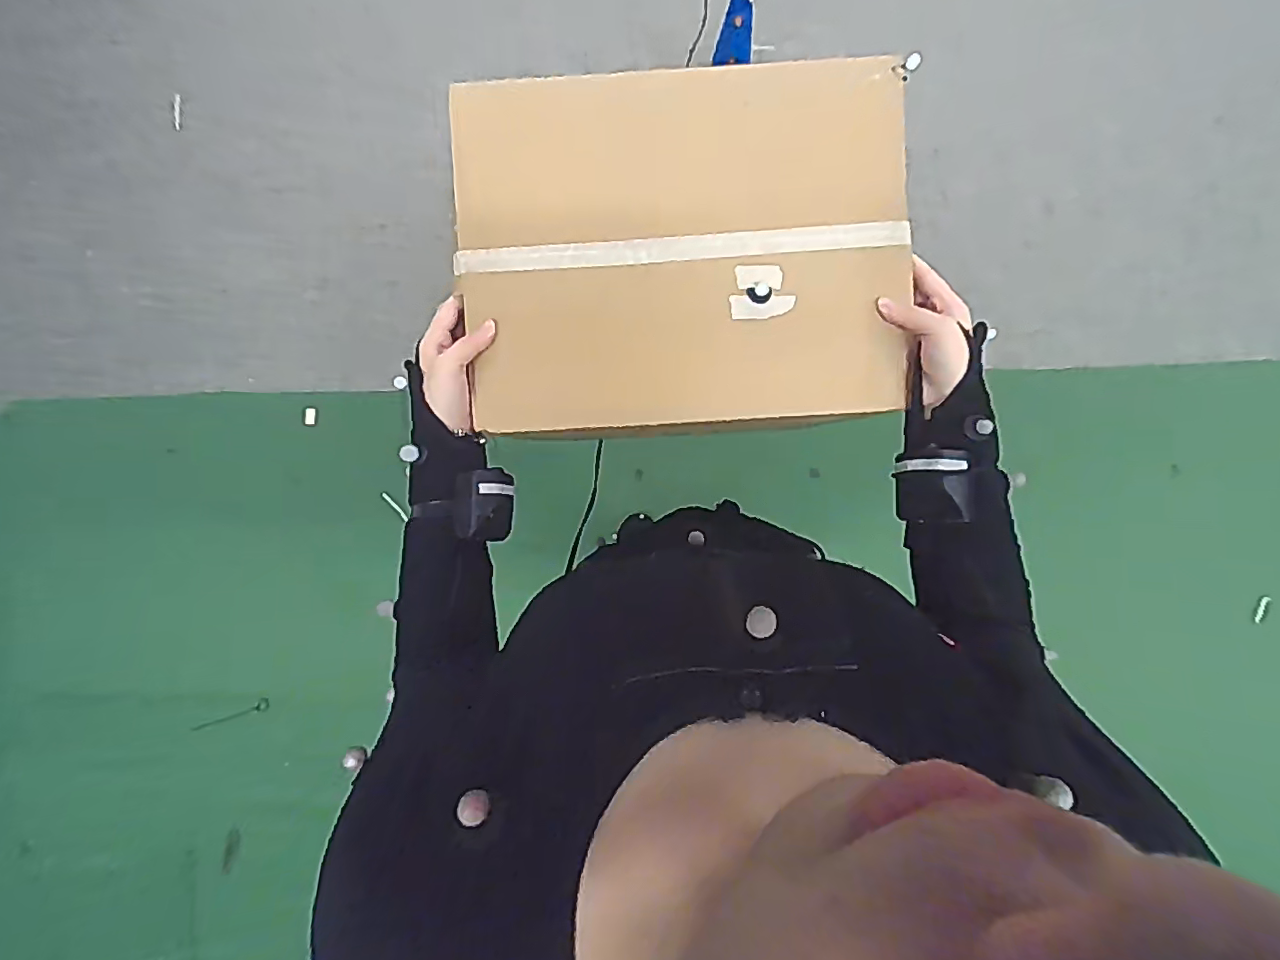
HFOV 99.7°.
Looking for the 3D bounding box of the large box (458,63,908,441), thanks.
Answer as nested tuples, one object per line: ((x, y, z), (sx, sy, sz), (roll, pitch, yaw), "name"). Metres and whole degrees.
((0.039, -0.219, 0.644), (0.408, 0.320, 0.320), (-3, 93, 0), "large box")
